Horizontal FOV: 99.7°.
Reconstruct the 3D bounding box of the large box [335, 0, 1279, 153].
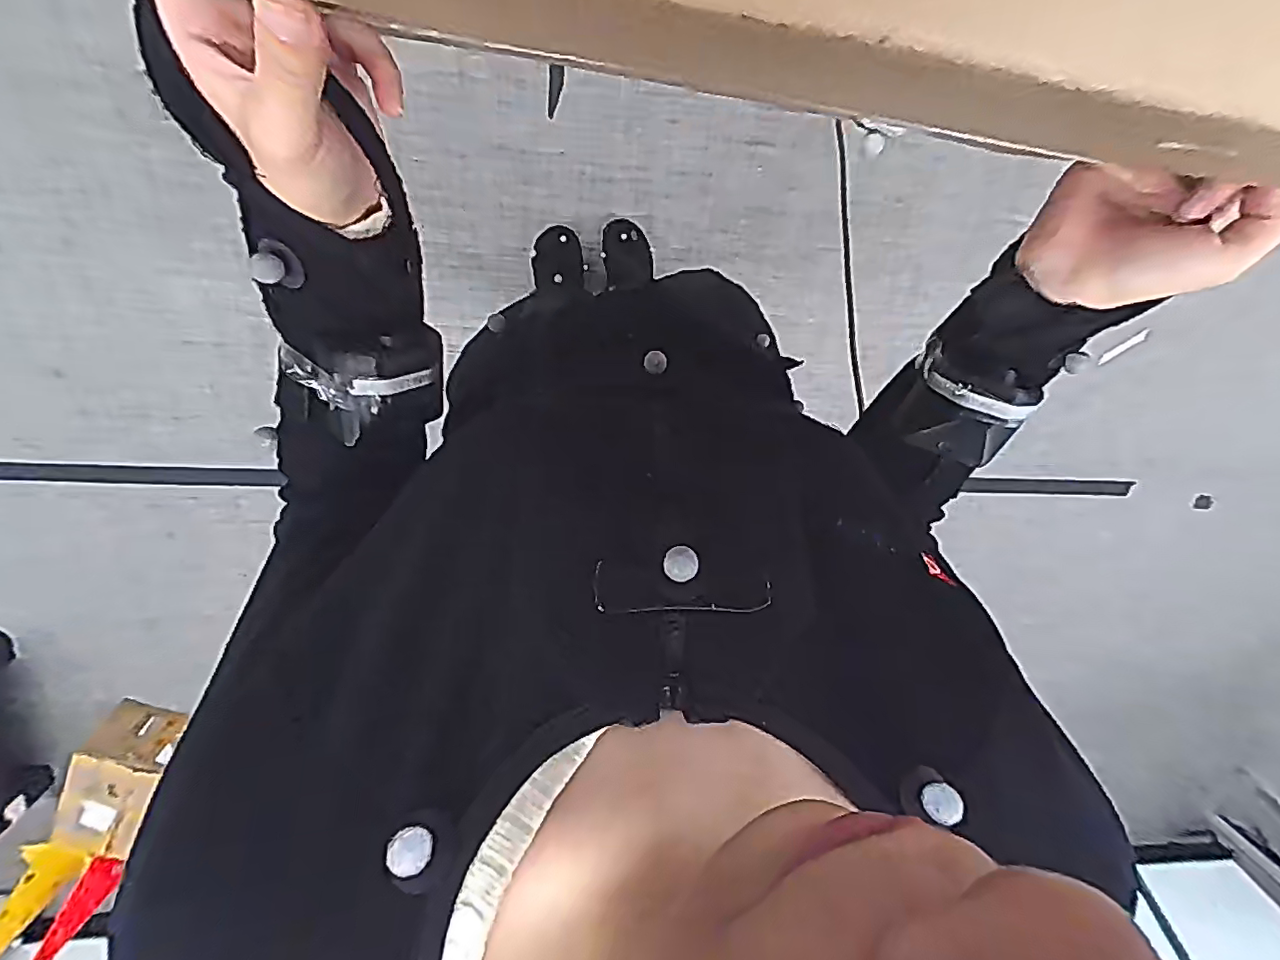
[{"bbox_3d":[0.087,-0.297,0.137,0.408,0.320,0.320,2,126,-11],"label":"large box"}]
